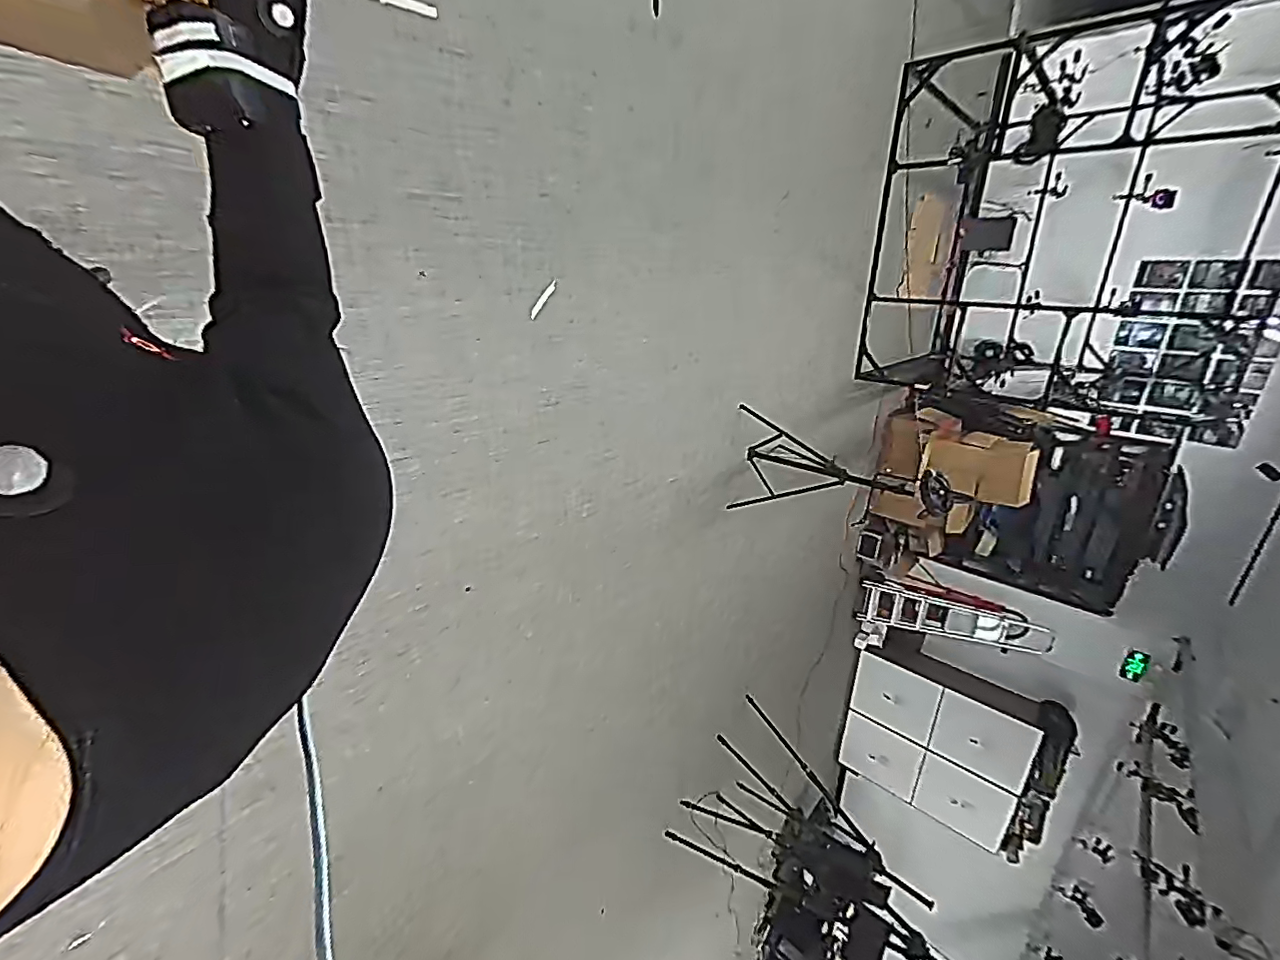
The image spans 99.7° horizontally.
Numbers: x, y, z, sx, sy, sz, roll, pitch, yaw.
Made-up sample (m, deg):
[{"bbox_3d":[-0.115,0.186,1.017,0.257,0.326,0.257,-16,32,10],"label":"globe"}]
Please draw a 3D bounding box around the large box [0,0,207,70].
[{"bbox_3d":[-0.525,-0.472,0.269,0.408,0.320,0.320,-15,121,-47],"label":"large box"}]
